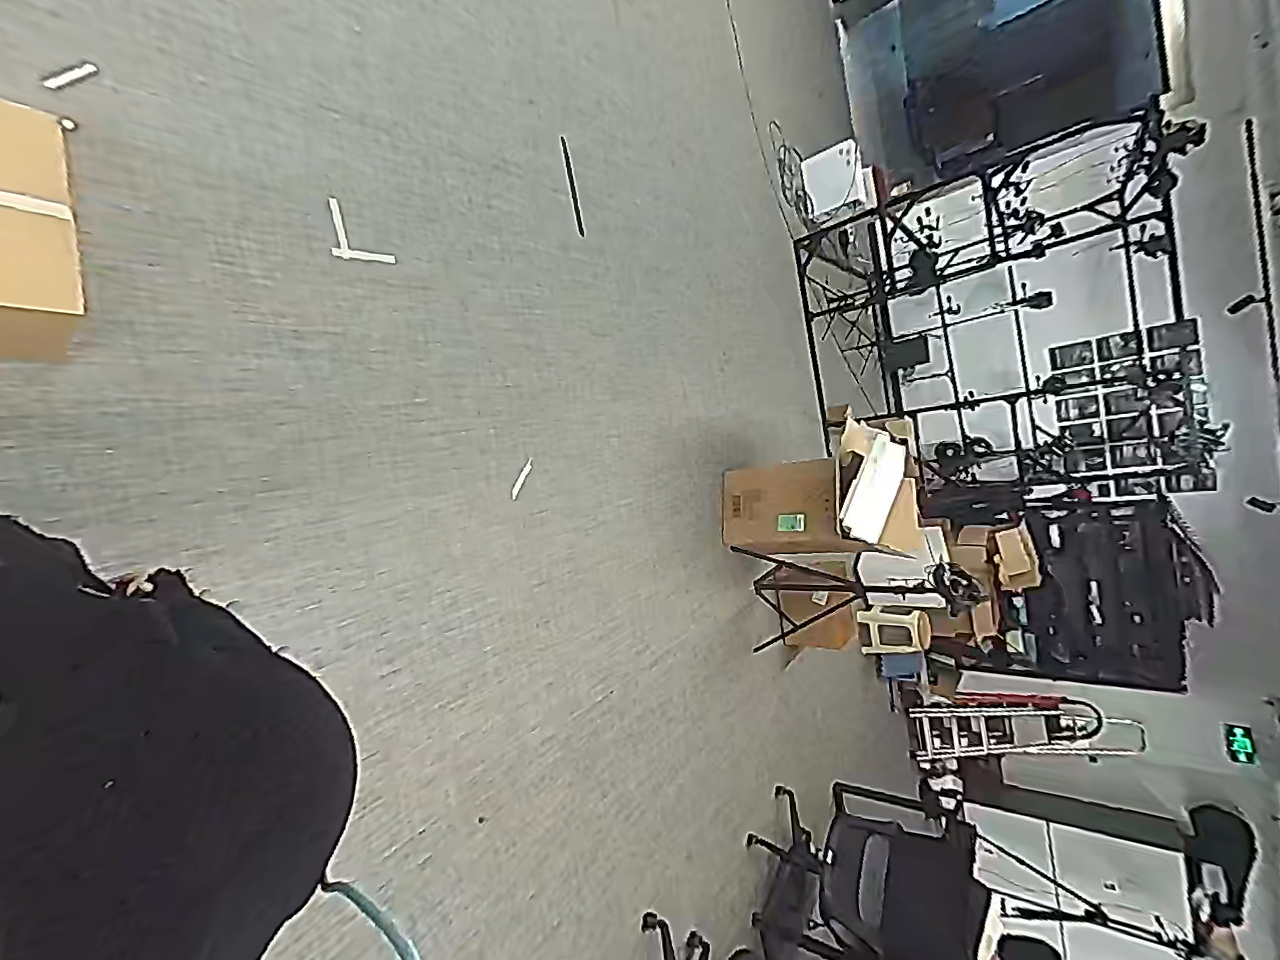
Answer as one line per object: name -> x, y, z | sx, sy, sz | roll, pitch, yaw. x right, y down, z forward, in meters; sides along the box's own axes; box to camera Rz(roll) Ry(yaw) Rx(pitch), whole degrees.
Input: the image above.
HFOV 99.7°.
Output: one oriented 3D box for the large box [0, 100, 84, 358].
large box -> -1.115, -0.375, 0.764 | 0.408, 0.320, 0.320 | -7, 90, -53
